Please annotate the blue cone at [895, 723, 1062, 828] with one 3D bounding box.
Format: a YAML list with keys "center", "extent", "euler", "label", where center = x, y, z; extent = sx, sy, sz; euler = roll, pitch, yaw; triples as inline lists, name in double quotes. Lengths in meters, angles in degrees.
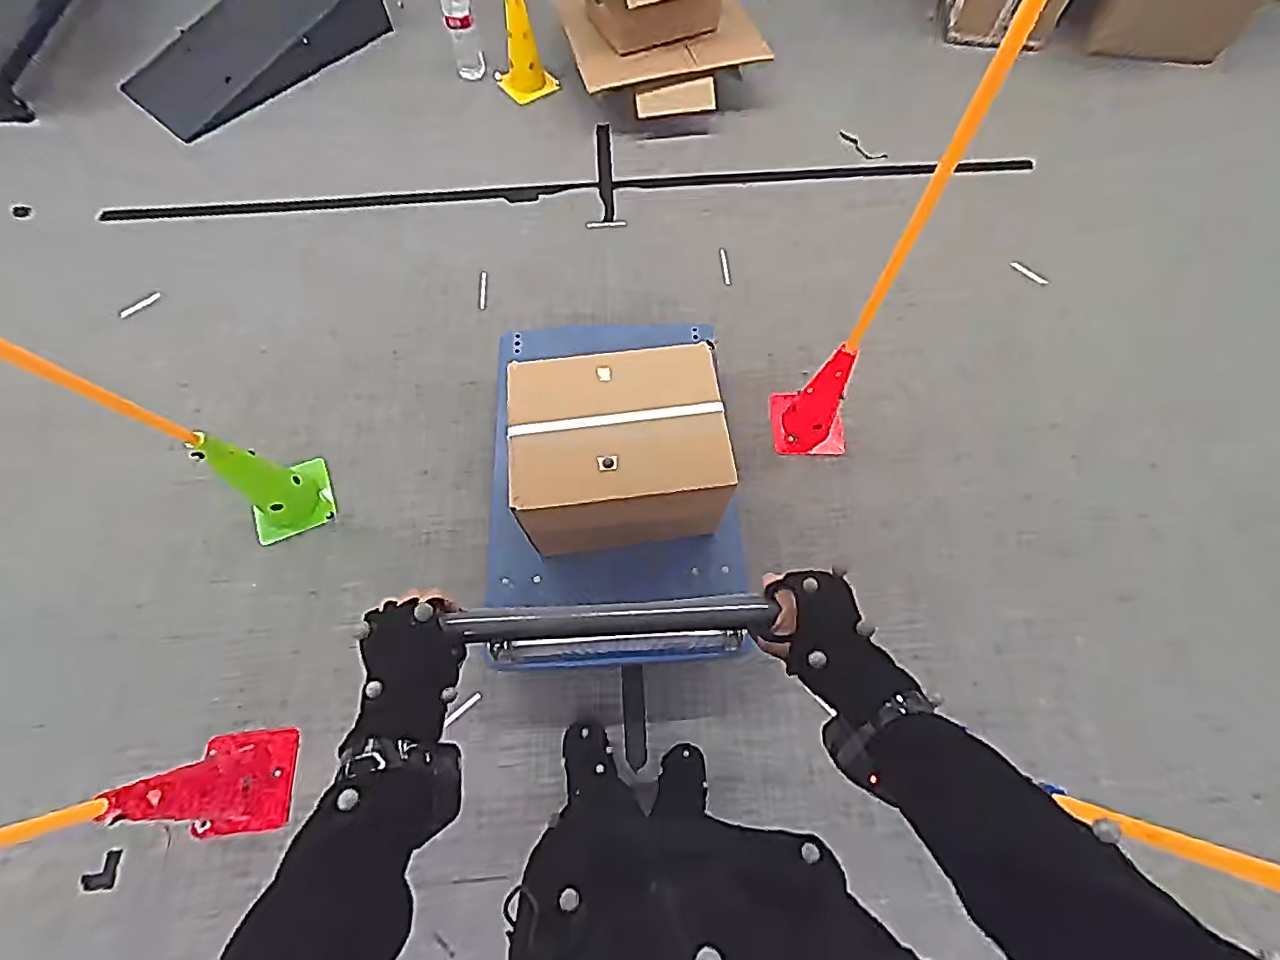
- center: [0.686, 0.593, 1.061]
  extent: [0.193, 0.380, 0.192]
  euler: [-7, 66, -4]
  label: "blue cone"

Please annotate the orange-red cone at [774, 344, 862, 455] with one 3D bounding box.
- center: [0.491, -0.230, 1.402]
  extent: [0.199, 0.360, 0.198]
  euler: [2, 67, 0]
  label: "orange-red cone"
